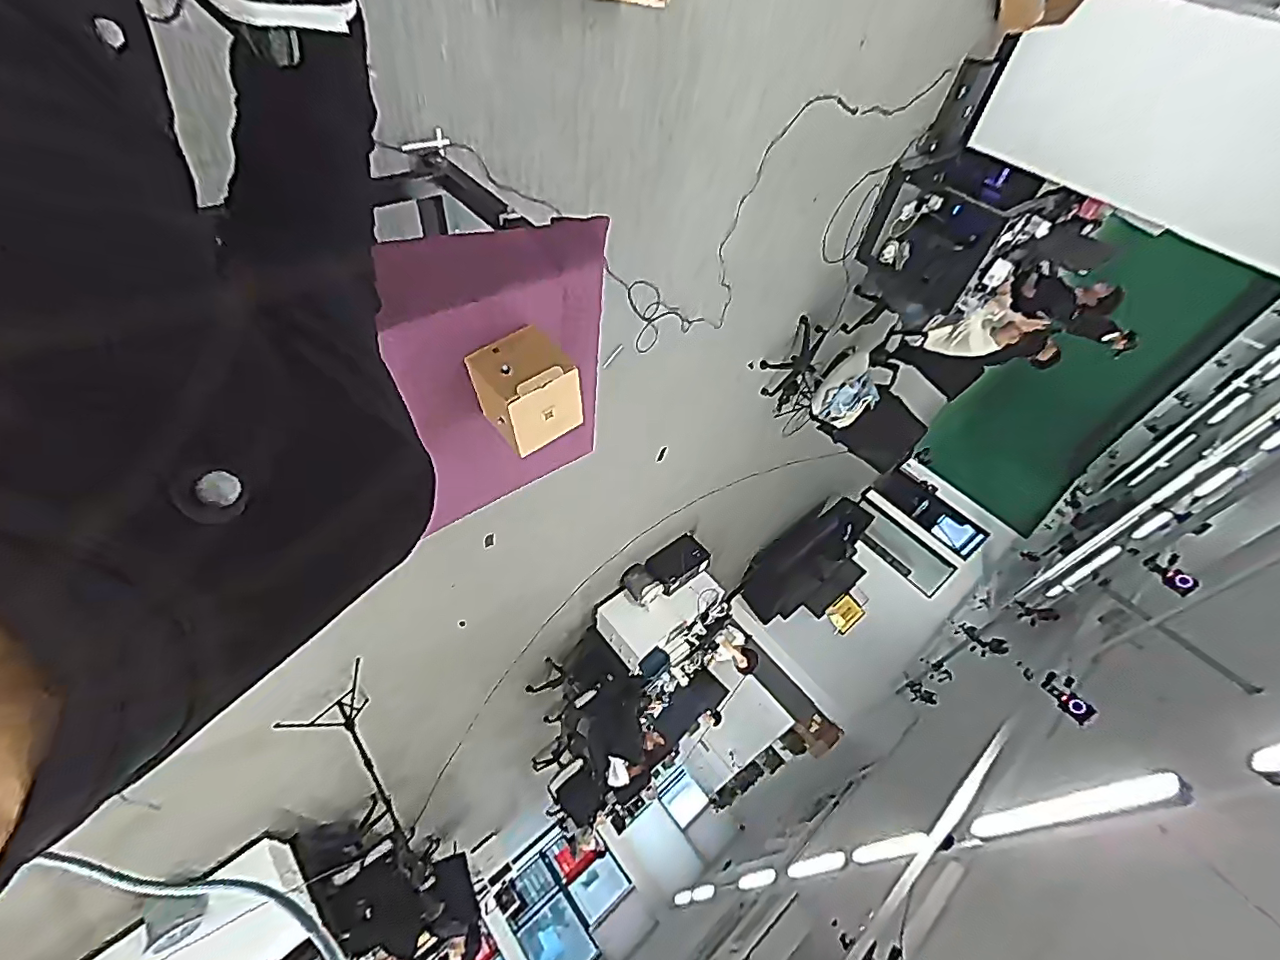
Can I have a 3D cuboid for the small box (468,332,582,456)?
[{"bbox_3d":[-0.243,-0.190,1.154,0.168,0.176,0.179,-33,152,-22],"label":"small box"}]
